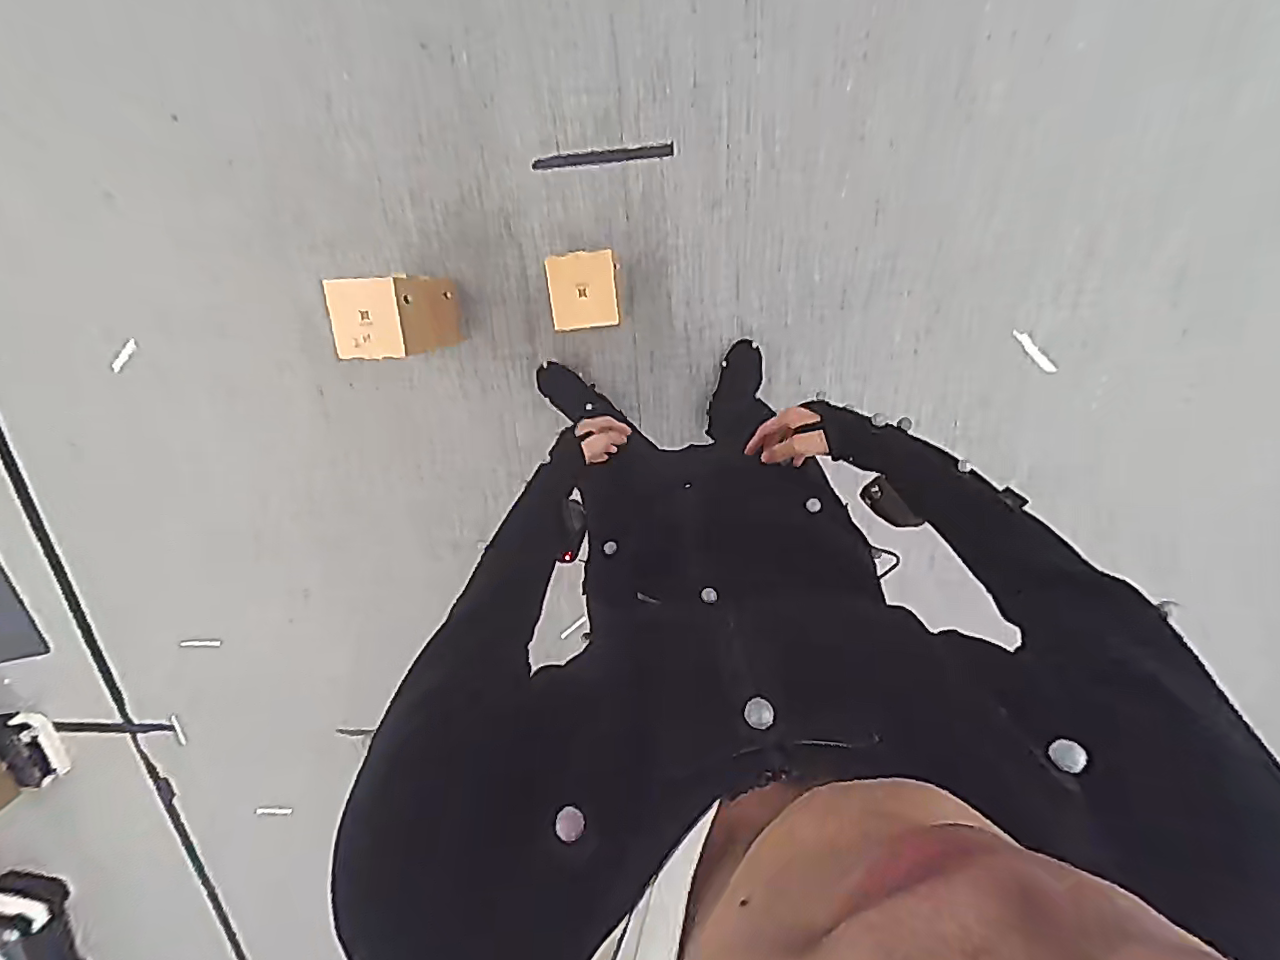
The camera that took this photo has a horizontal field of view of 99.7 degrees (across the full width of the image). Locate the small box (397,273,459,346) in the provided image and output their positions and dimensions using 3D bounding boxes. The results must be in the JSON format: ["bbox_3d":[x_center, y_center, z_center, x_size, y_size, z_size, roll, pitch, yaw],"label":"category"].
[{"bbox_3d":[-0.596,-0.449,1.431,0.168,0.176,0.179,1,109,5],"label":"small box"}]

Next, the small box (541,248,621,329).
[{"bbox_3d":[-0.143,-0.490,1.389,0.168,0.176,0.179,-5,108,5],"label":"small box"}]

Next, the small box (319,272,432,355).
[{"bbox_3d":[-0.614,-0.392,1.278,0.168,0.176,0.179,0,109,5],"label":"small box"}]
